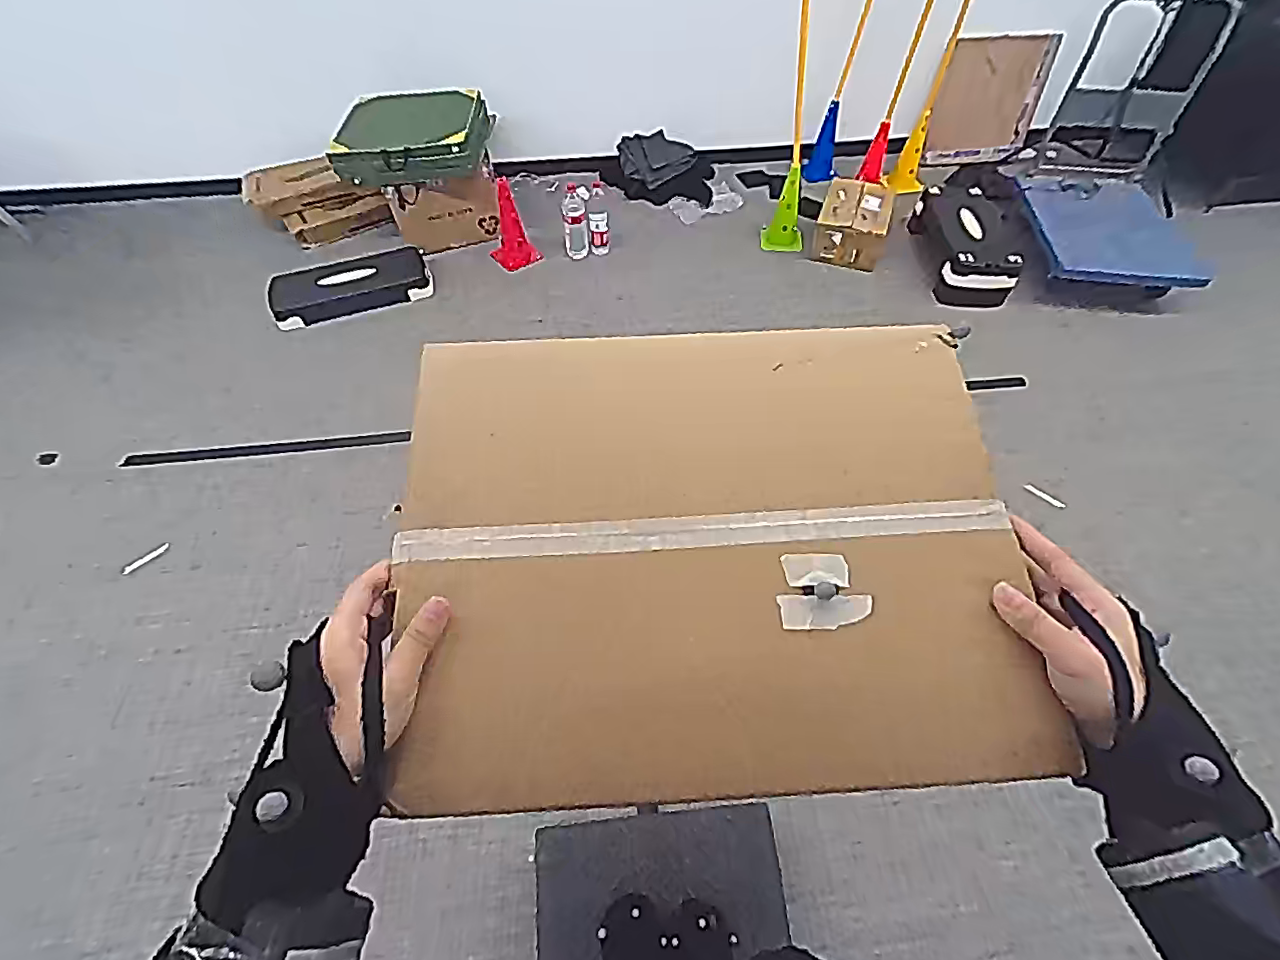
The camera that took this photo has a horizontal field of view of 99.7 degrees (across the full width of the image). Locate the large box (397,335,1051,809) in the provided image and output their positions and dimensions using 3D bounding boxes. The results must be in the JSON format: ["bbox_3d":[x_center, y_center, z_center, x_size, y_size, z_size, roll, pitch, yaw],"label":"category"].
[{"bbox_3d":[0.041,0.090,0.512,0.408,0.320,0.320,-3,70,-2],"label":"large box"}]
